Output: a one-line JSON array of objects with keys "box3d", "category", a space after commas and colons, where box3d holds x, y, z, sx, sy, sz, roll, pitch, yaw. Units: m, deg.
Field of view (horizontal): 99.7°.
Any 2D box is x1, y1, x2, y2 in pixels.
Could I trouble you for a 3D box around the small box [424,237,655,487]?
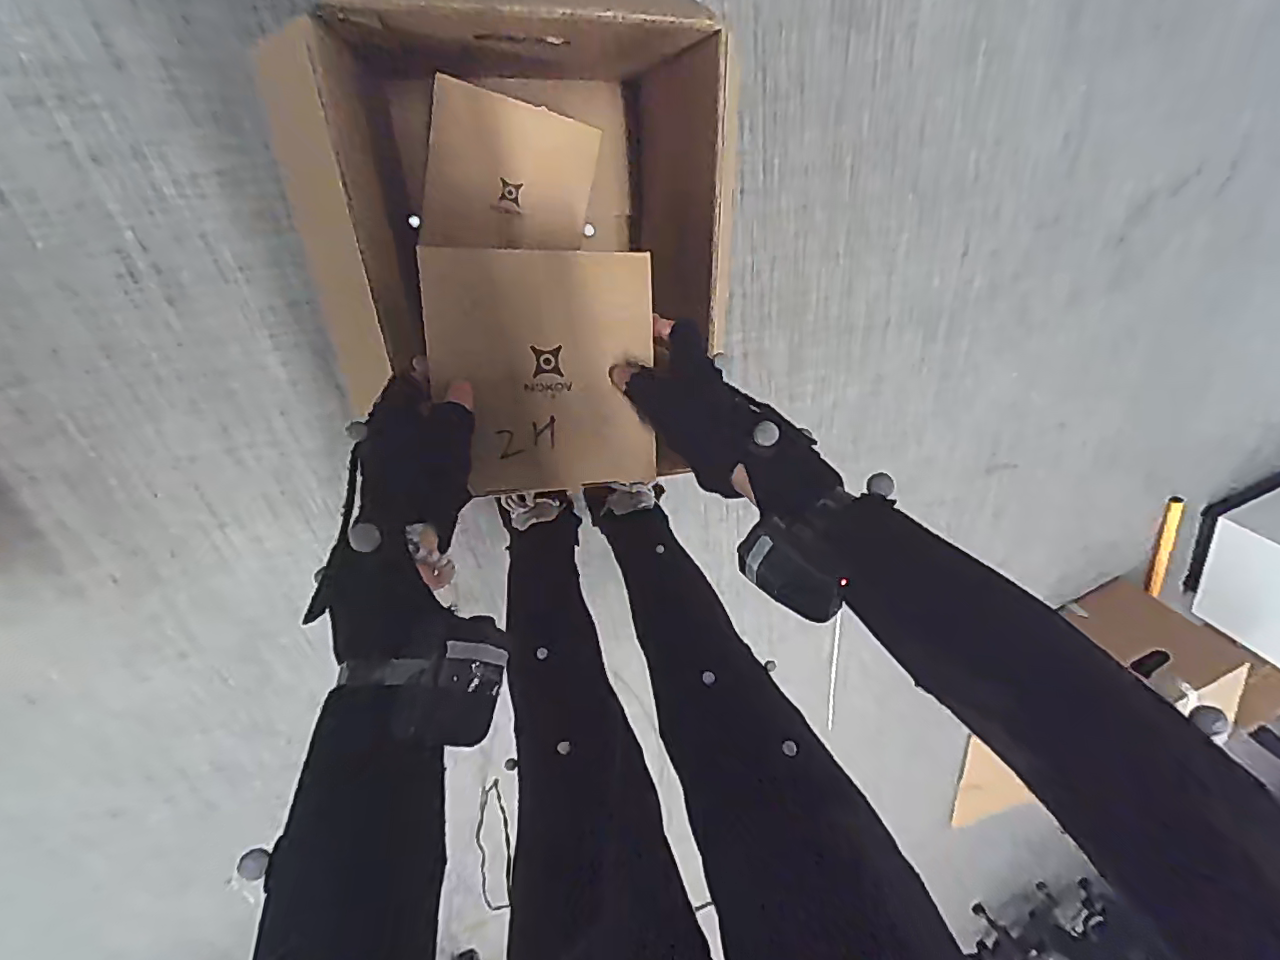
[{"box3d": [-0.088, -0.097, 0.476, 0.168, 0.176, 0.179, -4, 101, -13], "category": "small box"}]
